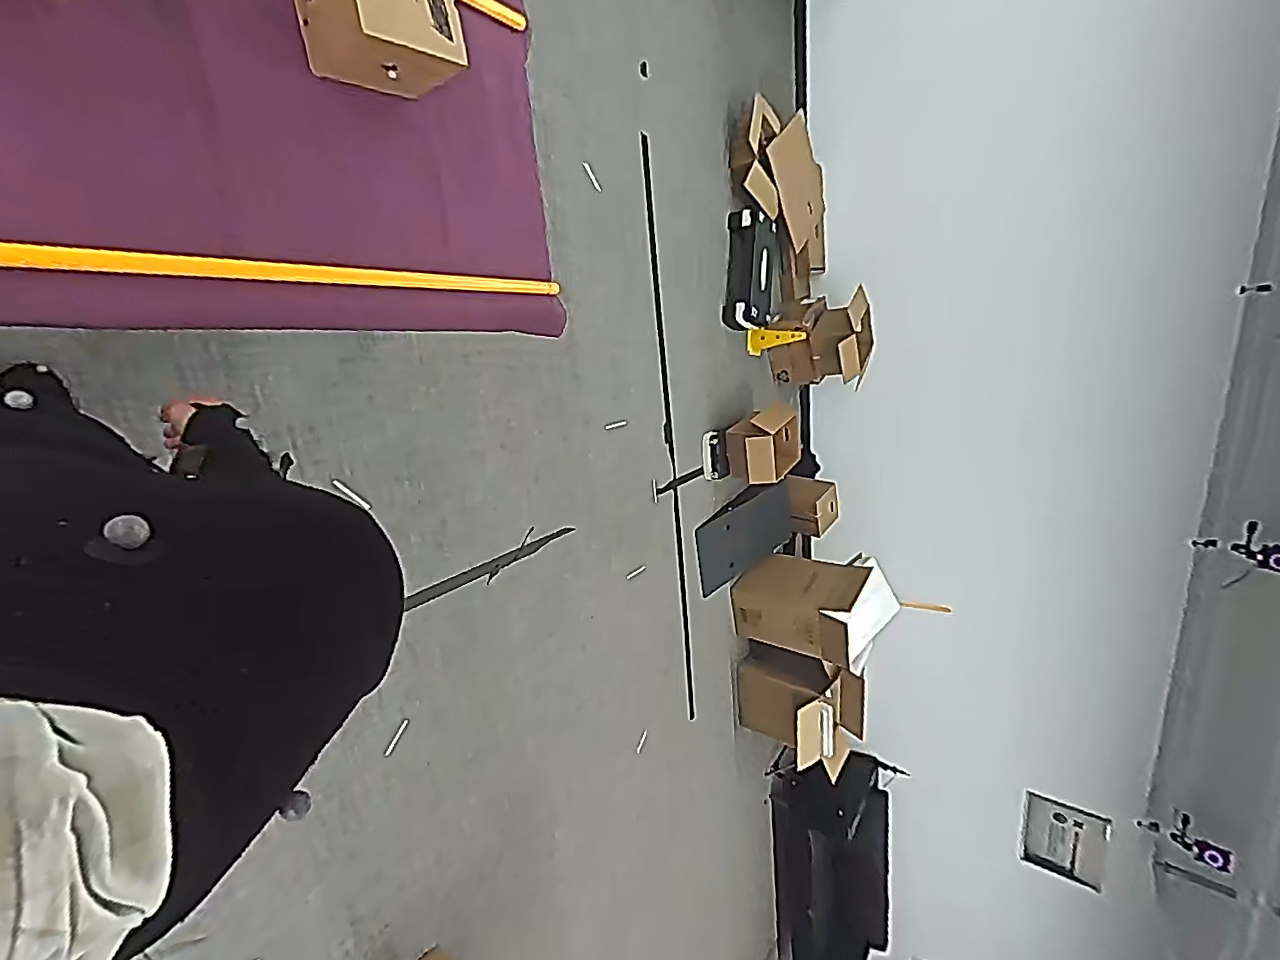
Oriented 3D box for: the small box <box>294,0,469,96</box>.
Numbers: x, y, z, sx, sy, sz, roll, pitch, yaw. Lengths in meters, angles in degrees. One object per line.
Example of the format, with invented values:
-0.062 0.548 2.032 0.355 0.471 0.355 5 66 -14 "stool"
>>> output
-0.394 -0.711 0.817 0.179 0.176 0.168 -26 117 -47 "small box"
